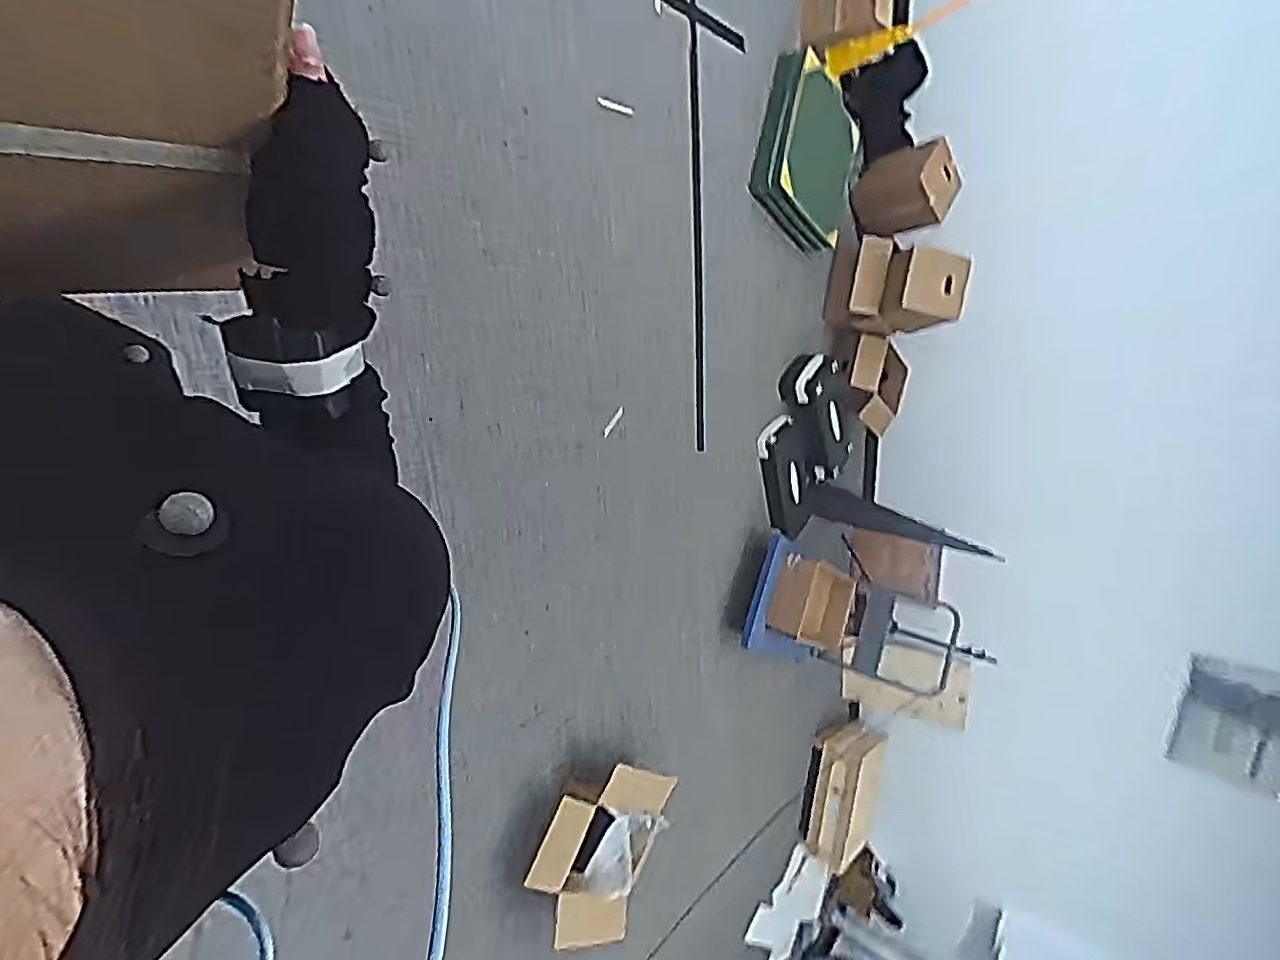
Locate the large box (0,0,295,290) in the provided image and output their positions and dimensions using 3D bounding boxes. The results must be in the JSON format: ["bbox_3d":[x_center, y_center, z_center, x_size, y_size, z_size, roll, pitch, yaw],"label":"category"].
[{"bbox_3d":[-0.395,-0.274,0.179,0.408,0.320,0.320,-18,92,-38],"label":"large box"}]
